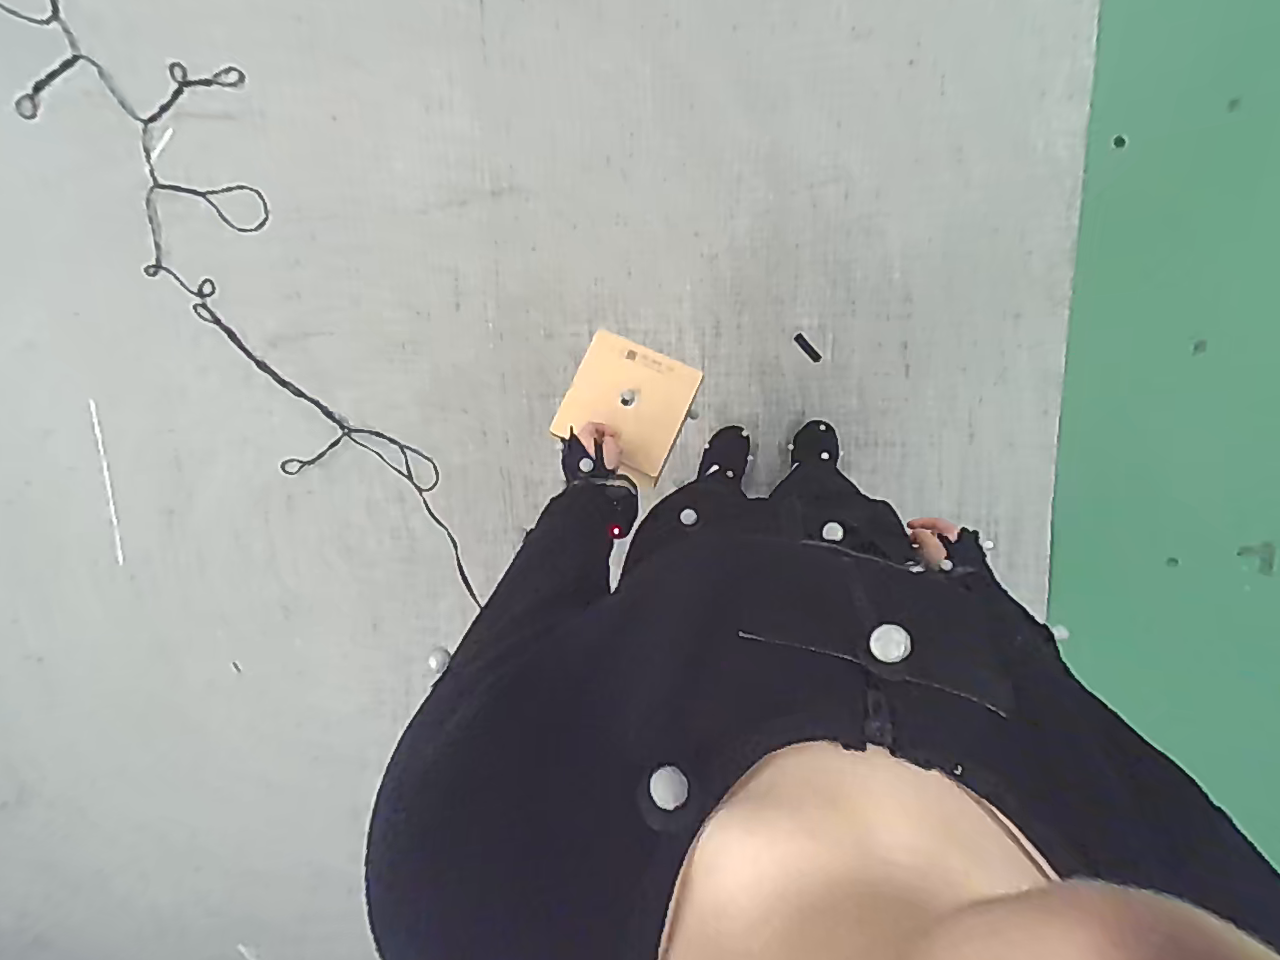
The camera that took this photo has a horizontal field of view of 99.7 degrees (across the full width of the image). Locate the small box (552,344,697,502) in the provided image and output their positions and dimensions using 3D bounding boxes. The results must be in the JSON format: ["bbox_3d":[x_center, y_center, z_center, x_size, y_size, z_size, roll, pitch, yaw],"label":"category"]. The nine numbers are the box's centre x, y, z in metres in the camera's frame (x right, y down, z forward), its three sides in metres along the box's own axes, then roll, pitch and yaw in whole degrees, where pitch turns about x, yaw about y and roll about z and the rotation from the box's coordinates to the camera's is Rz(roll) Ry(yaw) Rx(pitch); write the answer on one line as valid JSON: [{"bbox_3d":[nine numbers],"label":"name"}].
[{"bbox_3d":[-0.020,-0.084,0.837,0.168,0.179,0.176,22,79,3],"label":"small box"}]
